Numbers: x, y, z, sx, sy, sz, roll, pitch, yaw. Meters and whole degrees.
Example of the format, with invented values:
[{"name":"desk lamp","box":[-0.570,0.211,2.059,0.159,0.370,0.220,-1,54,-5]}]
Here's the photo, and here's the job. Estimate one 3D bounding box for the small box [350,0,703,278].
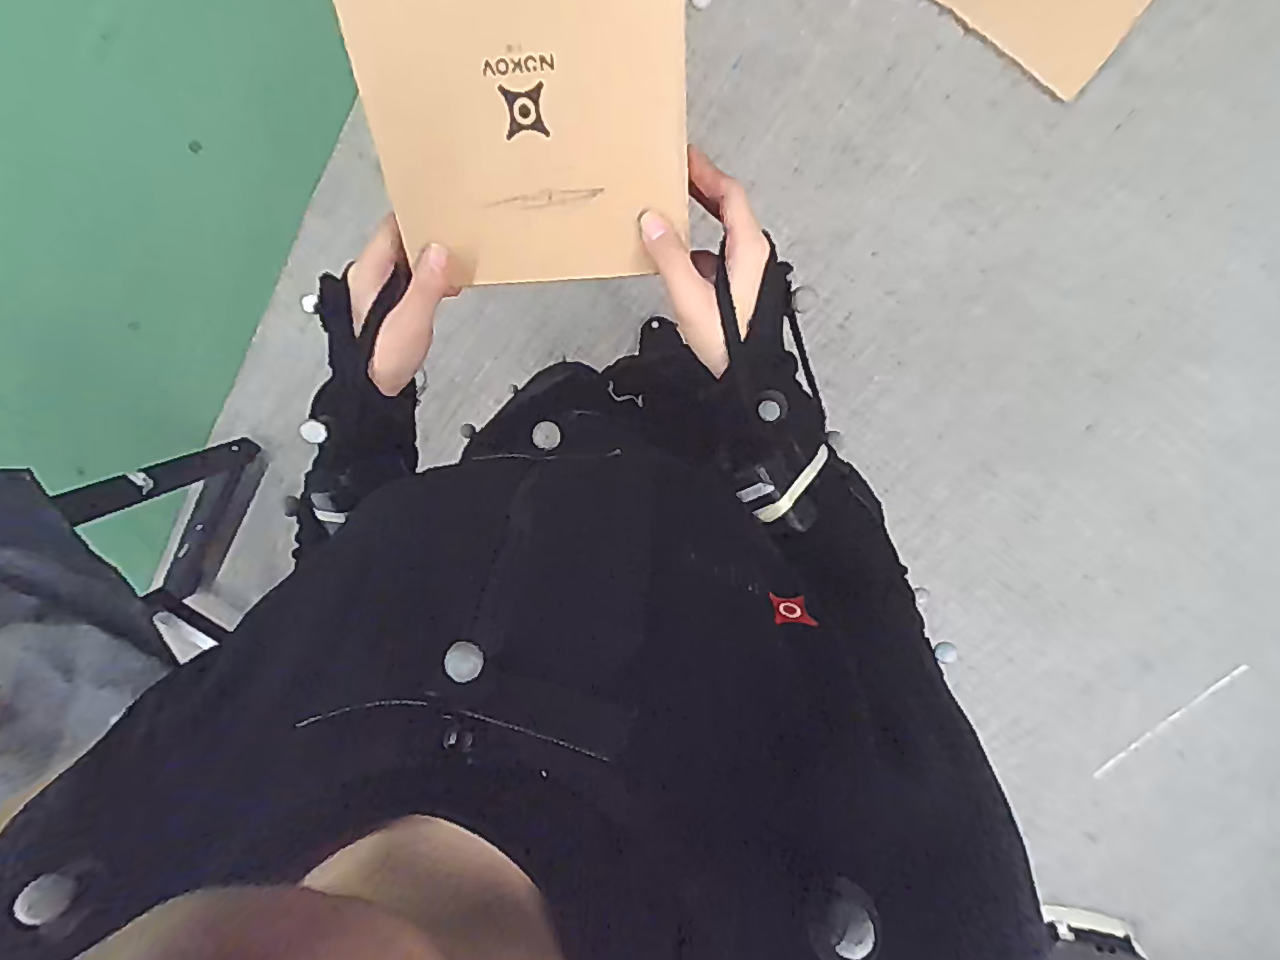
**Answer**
[{"name":"small box","box":[-0.047,-0.236,0.333,0.168,0.176,0.179,-1,124,5]}]
